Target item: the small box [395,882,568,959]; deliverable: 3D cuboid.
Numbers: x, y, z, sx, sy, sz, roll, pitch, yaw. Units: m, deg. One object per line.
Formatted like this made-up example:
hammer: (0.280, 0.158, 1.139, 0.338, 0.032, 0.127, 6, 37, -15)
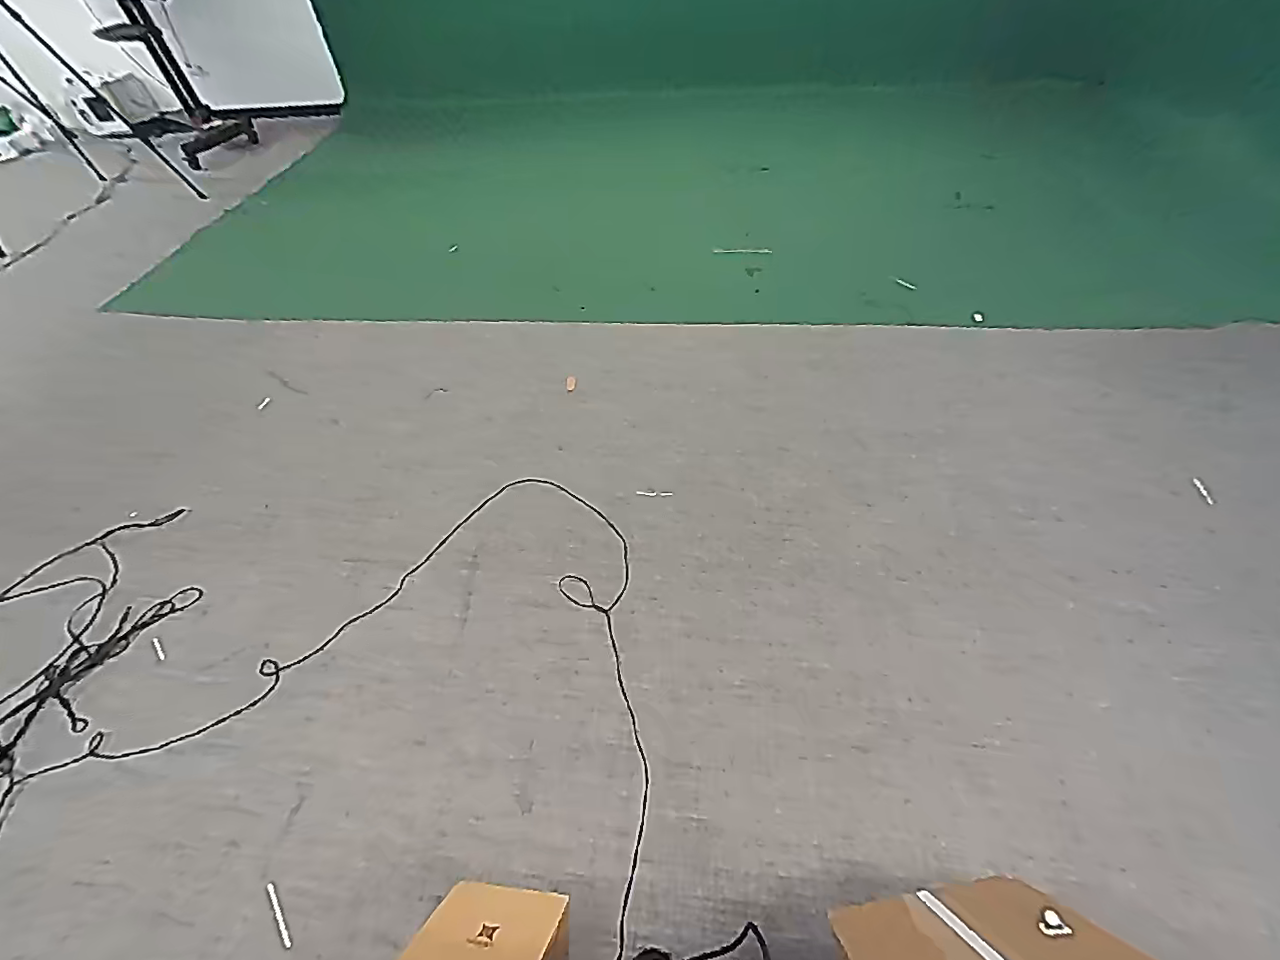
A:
small box: (-0.194, 0.642, 0.658, 0.168, 0.179, 0.176, 0, 85, 10)
